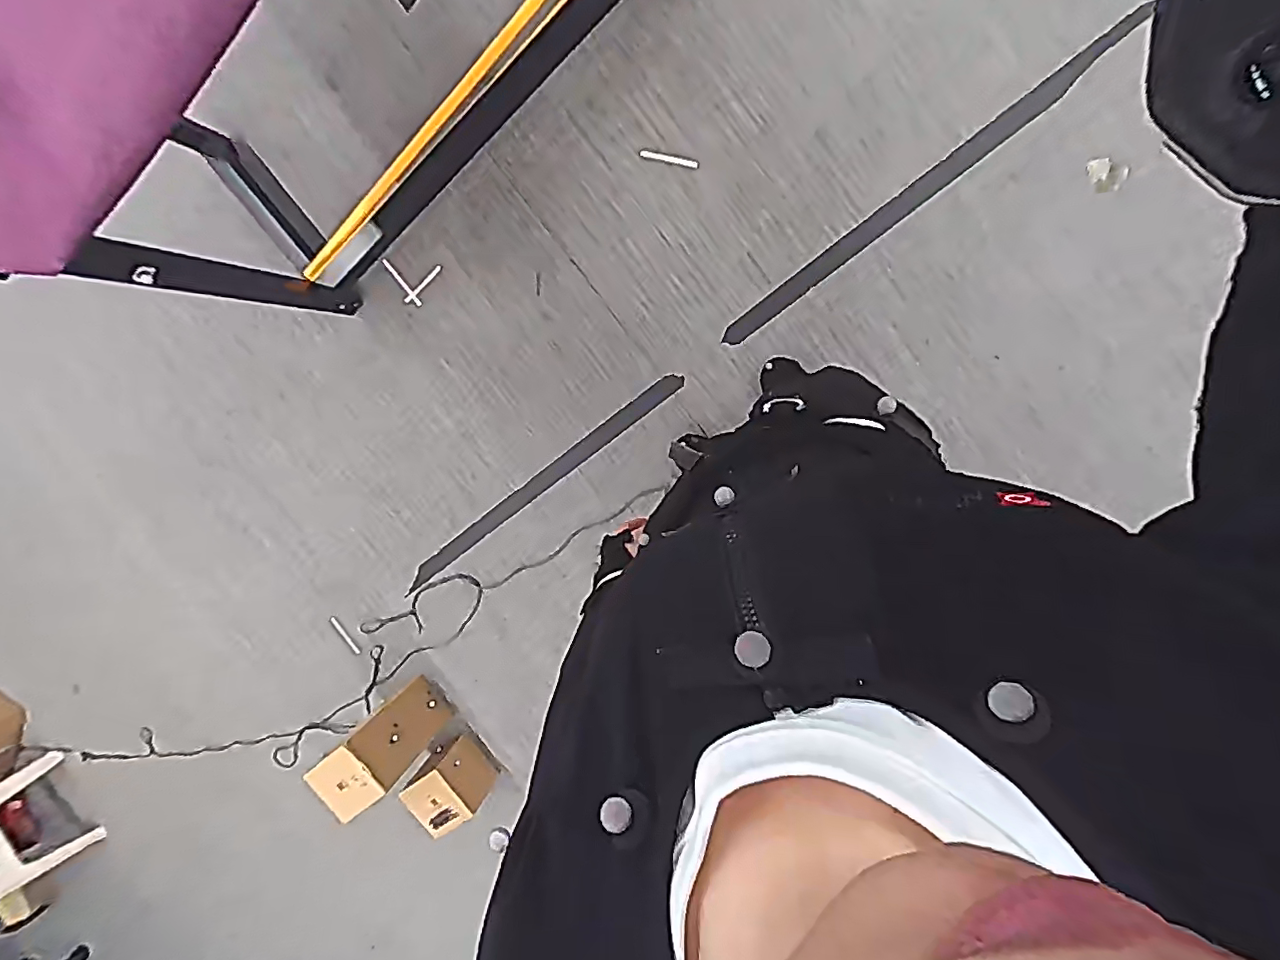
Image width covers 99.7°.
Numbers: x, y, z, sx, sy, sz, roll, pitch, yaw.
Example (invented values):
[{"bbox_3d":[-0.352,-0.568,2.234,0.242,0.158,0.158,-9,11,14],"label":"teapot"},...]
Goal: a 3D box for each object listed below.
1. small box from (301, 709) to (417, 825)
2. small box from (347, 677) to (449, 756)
[{"bbox_3d":[-0.730,0.748,1.423,0.179,0.176,0.168,-39,92,14],"label":"small box"},{"bbox_3d":[-0.701,0.719,1.582,0.179,0.176,0.168,-37,92,14],"label":"small box"}]
